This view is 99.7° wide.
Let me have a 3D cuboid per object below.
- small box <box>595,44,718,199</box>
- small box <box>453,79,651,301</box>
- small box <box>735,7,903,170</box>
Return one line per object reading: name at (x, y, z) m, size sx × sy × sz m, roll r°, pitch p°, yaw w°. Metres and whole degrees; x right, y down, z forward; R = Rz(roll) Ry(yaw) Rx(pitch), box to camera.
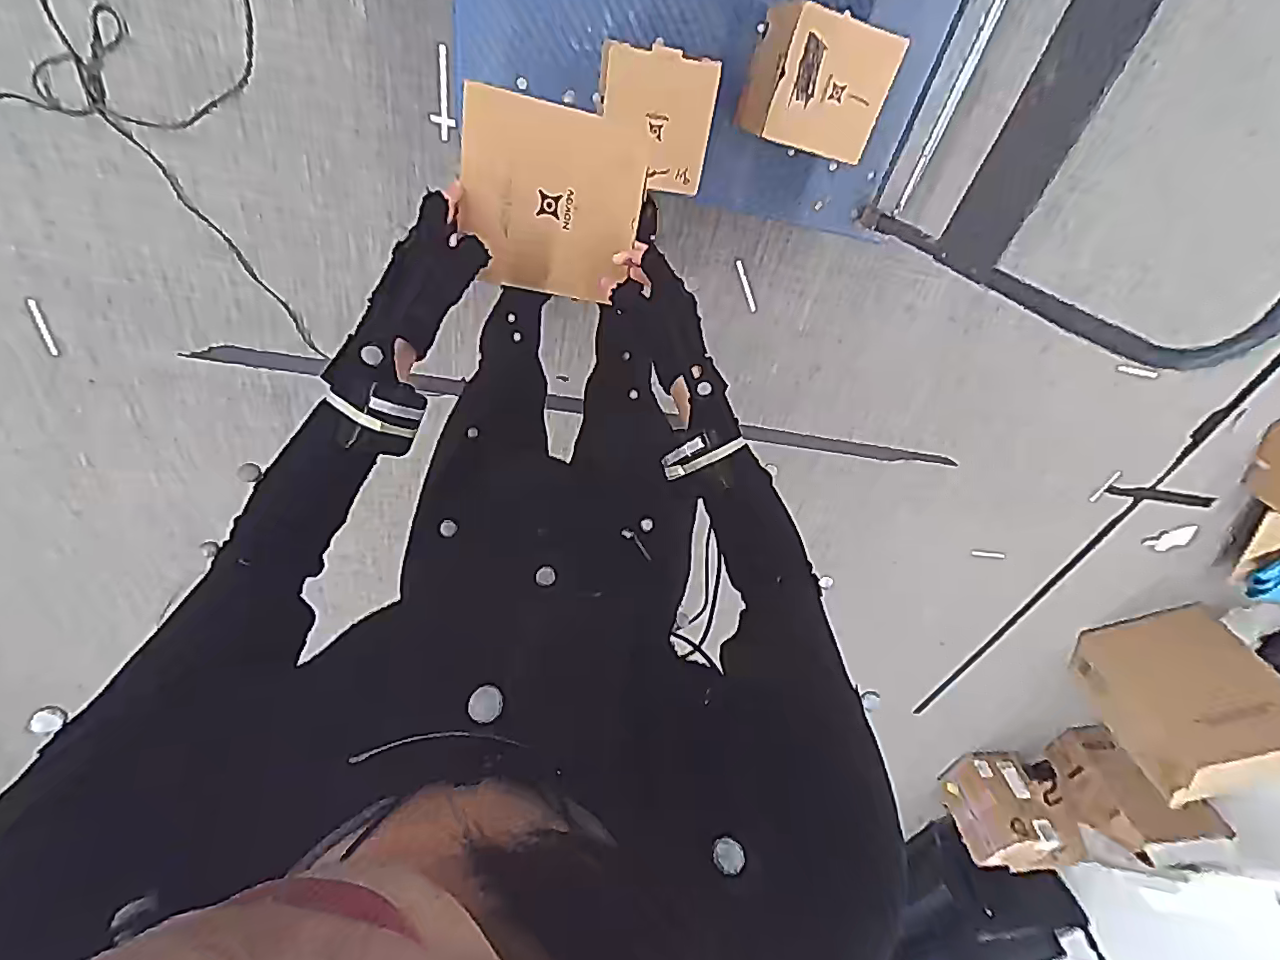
small box at (0.012, -0.580, 0.878) m, size 0.168 × 0.176 × 0.179 m, roll 4°, pitch 127°, yaw -11°
small box at (-0.103, -0.308, 0.595) m, size 0.179 × 0.176 × 0.168 m, roll 5°, pitch 116°, yaw -15°
small box at (0.272, -0.627, 0.875) m, size 0.179 × 0.176 × 0.168 m, roll 8°, pitch 127°, yaw -14°
